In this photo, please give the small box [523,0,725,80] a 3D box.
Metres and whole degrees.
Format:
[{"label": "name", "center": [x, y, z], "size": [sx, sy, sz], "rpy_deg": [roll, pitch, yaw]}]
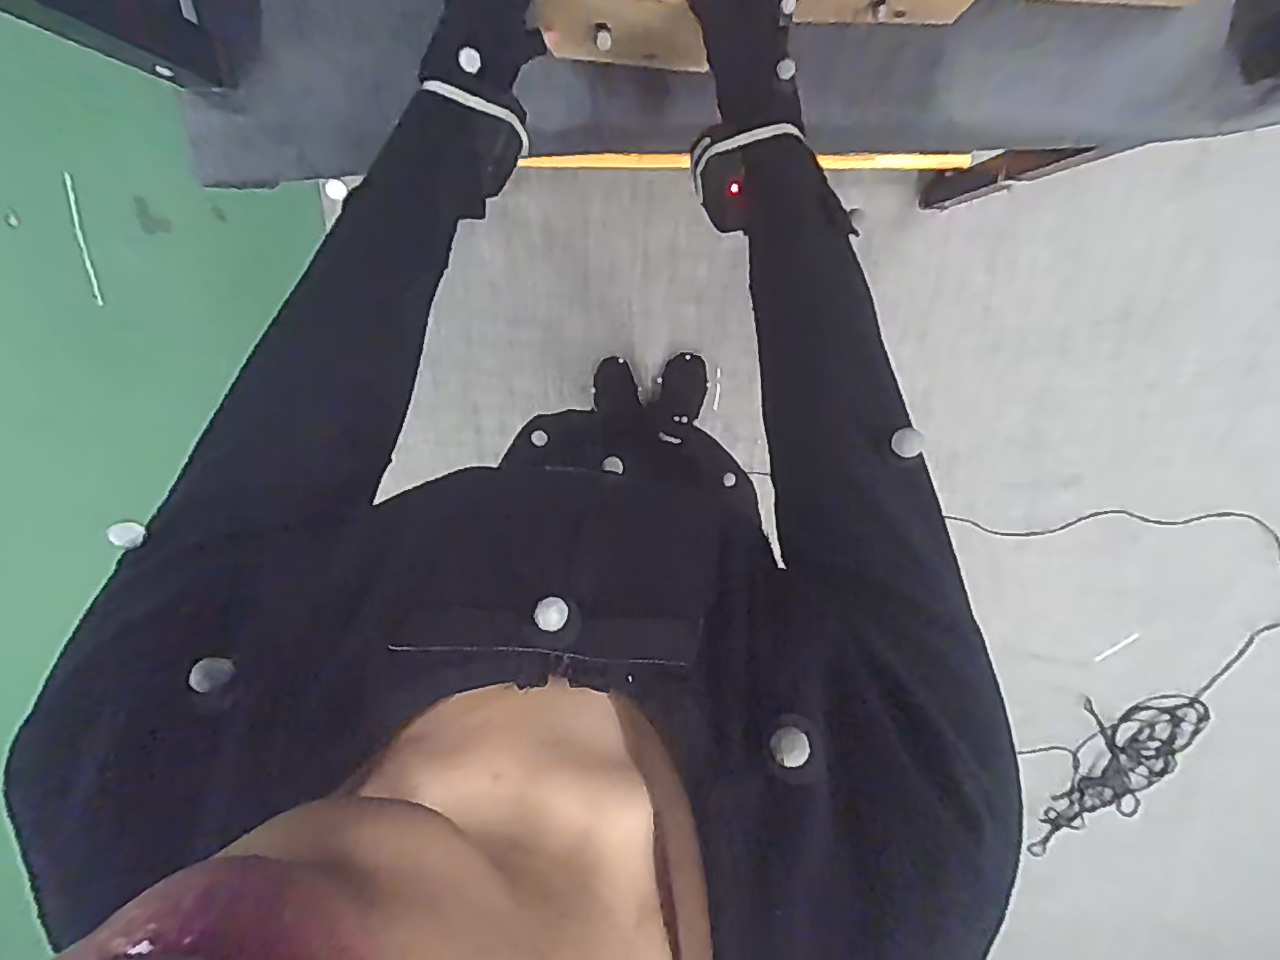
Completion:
[{"label": "small box", "center": [-0.002, -0.479, 0.470], "size": [0.168, 0.176, 0.179], "rpy_deg": [5, 111, 0]}]
